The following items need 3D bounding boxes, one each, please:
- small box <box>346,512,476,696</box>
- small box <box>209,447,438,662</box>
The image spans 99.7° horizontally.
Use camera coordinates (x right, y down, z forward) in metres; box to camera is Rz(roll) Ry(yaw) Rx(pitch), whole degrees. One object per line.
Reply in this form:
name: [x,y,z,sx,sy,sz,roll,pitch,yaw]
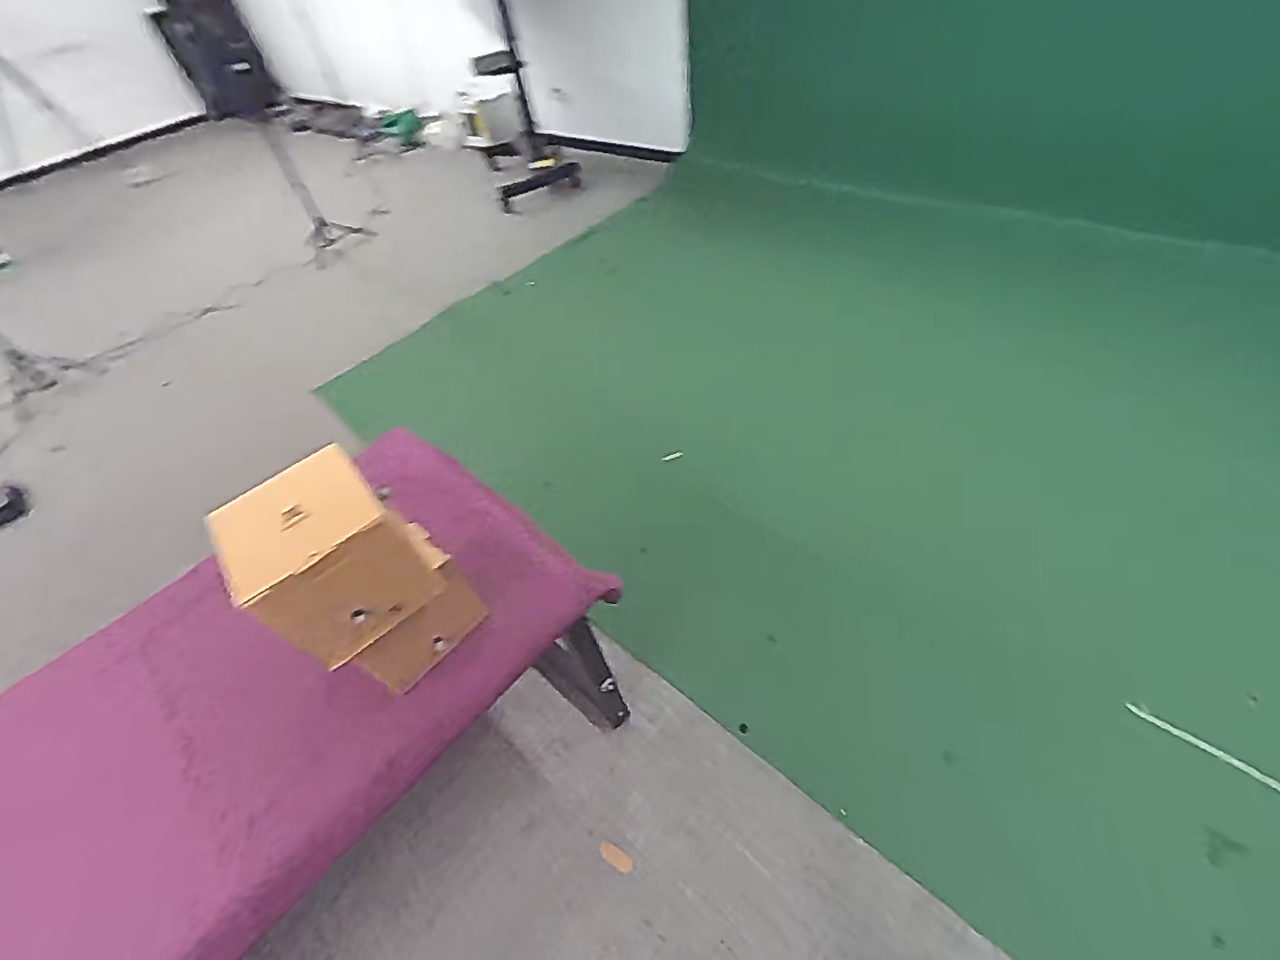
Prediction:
small box: [-0.375,0.187,0.825,0.168,0.176,0.179,28,59,33]
small box: [-0.394,0.095,0.689,0.168,0.176,0.179,-37,52,-21]
